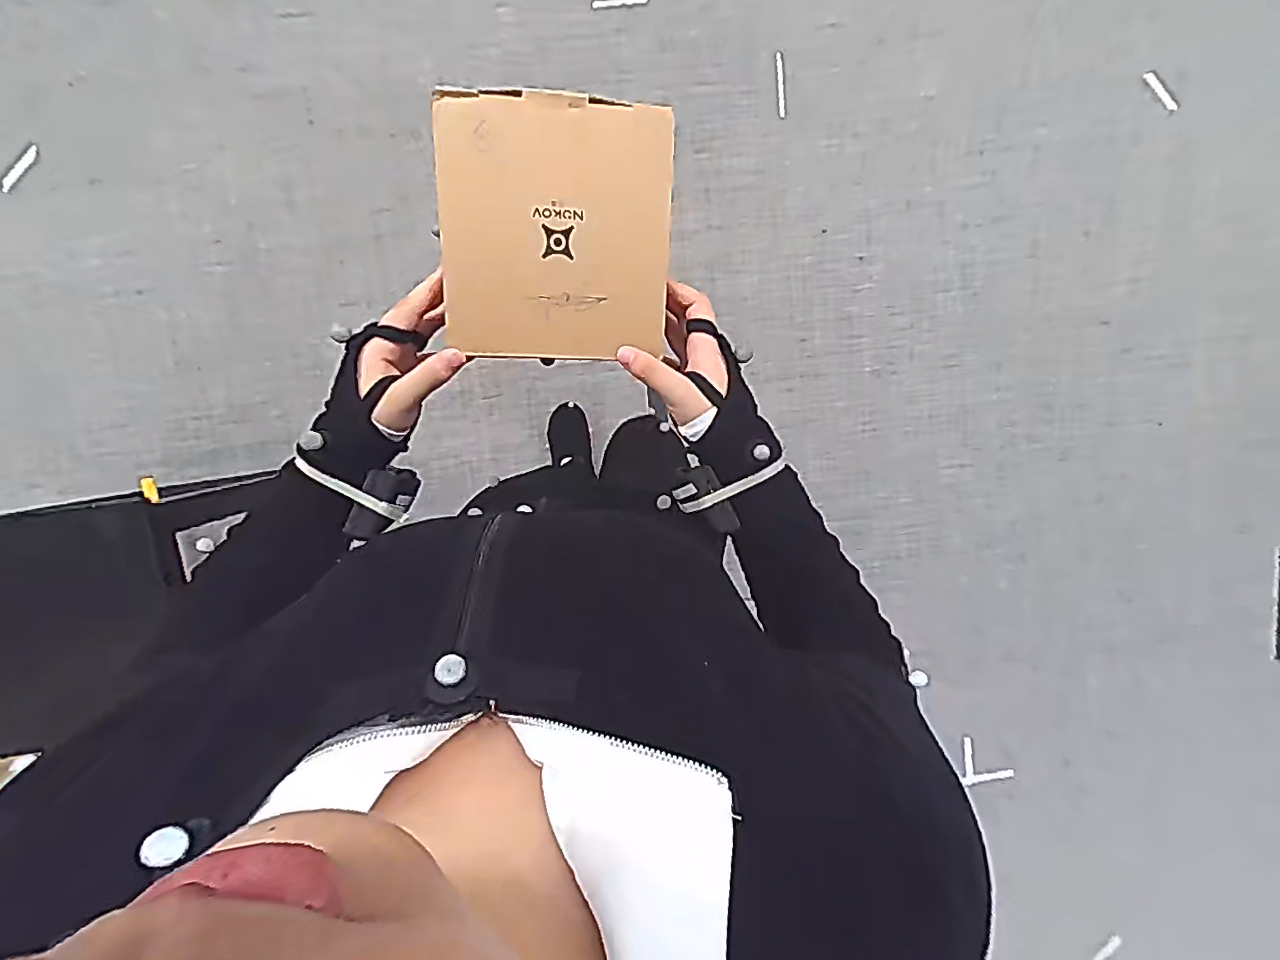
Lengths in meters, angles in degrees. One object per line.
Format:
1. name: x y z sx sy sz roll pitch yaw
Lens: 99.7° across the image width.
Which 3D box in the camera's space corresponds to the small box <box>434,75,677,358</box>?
1. small box: -0.070 -0.202 0.460 0.168 0.176 0.179 0 108 -8
